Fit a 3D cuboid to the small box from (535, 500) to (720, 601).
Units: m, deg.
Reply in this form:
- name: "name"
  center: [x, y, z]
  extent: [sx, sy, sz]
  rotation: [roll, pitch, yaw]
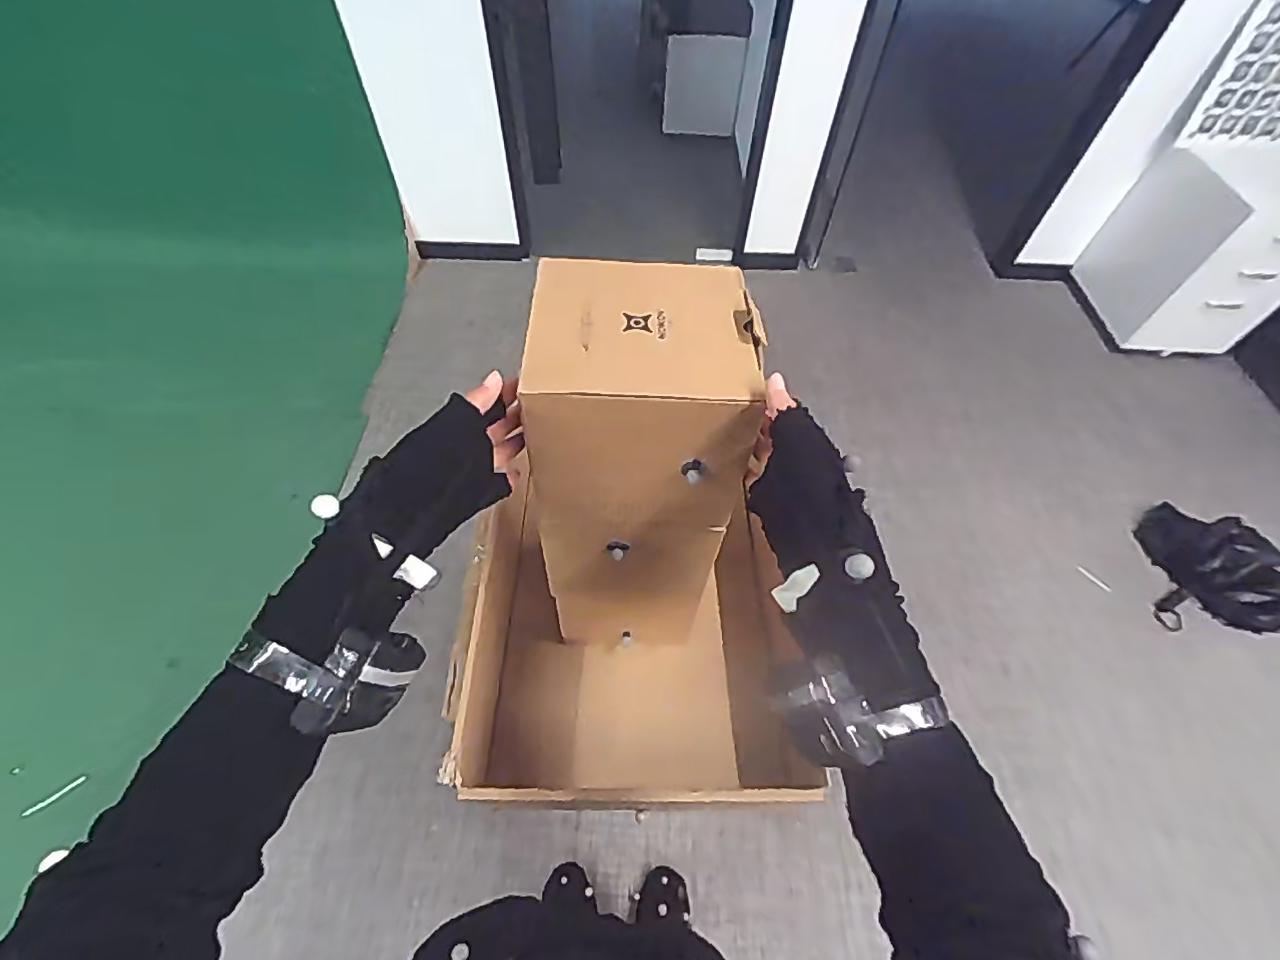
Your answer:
- name: "small box"
  center: [-0.012, 0.025, 0.612]
  extent: [0.179, 0.176, 0.168]
  rotation: [4, 53, -2]

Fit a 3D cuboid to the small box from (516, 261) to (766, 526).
- name: "small box"
  center: [-0.002, -0.071, 0.481]
  extent: [0.179, 0.176, 0.168]
  rotation: [0, 52, -2]

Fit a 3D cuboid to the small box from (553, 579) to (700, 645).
- name: "small box"
  center: [-0.021, 0.119, 0.746]
  extent: [0.179, 0.176, 0.168]
  rotation: [2, 53, -3]
